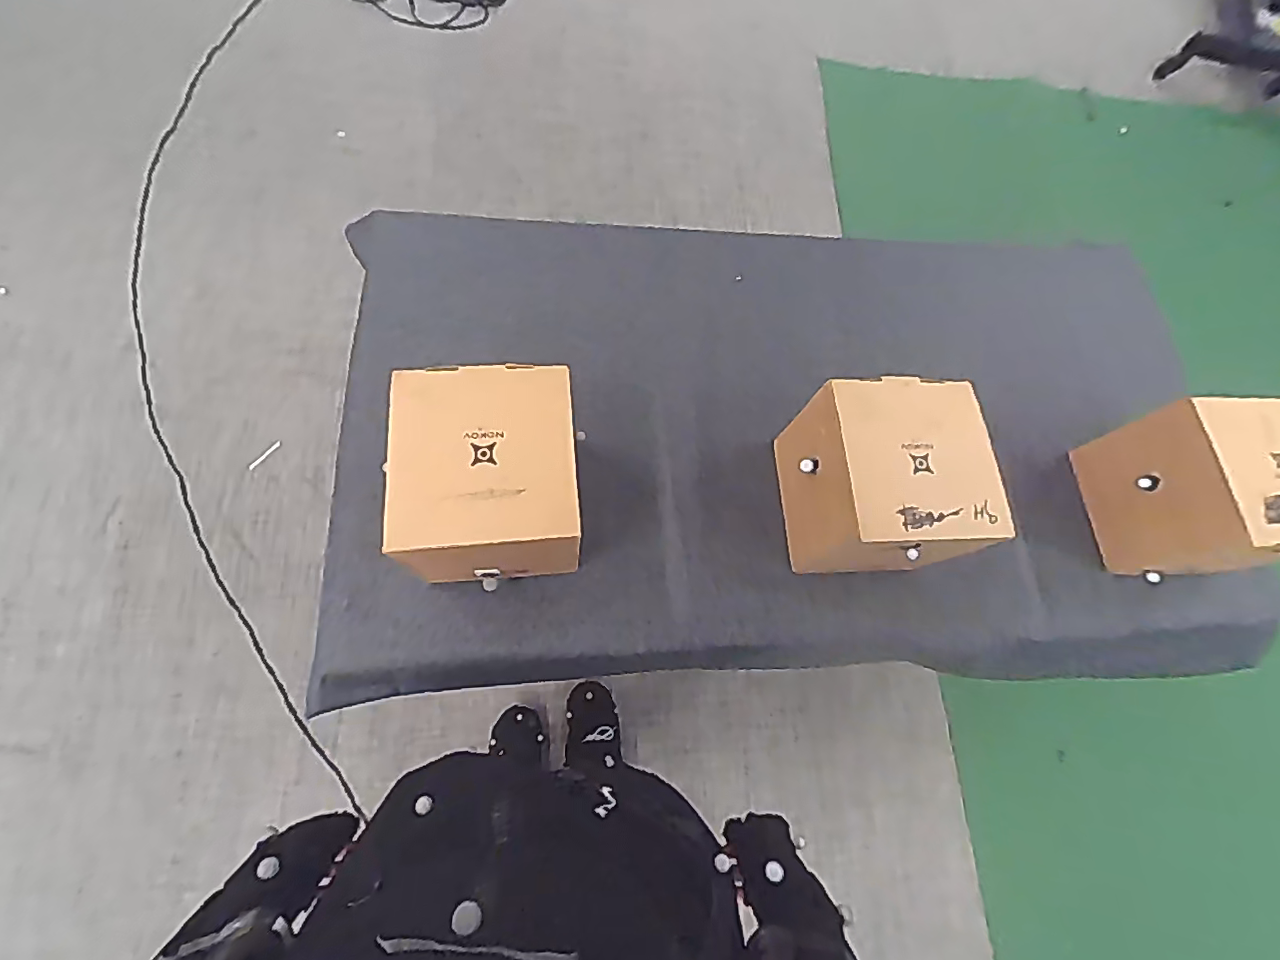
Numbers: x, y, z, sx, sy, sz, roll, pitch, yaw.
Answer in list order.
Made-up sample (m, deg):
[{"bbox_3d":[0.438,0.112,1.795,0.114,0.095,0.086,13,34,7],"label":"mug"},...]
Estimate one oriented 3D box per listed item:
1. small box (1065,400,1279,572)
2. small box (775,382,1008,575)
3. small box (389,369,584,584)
[{"bbox_3d":[0.693,0.018,0.676,0.168,0.176,0.179,0,69,-7],"label":"small box"},{"bbox_3d":[0.268,0.006,0.626,0.168,0.176,0.179,-1,70,-7],"label":"small box"},{"bbox_3d":[-0.150,0.003,0.568,0.168,0.176,0.179,-4,71,-8],"label":"small box"}]
